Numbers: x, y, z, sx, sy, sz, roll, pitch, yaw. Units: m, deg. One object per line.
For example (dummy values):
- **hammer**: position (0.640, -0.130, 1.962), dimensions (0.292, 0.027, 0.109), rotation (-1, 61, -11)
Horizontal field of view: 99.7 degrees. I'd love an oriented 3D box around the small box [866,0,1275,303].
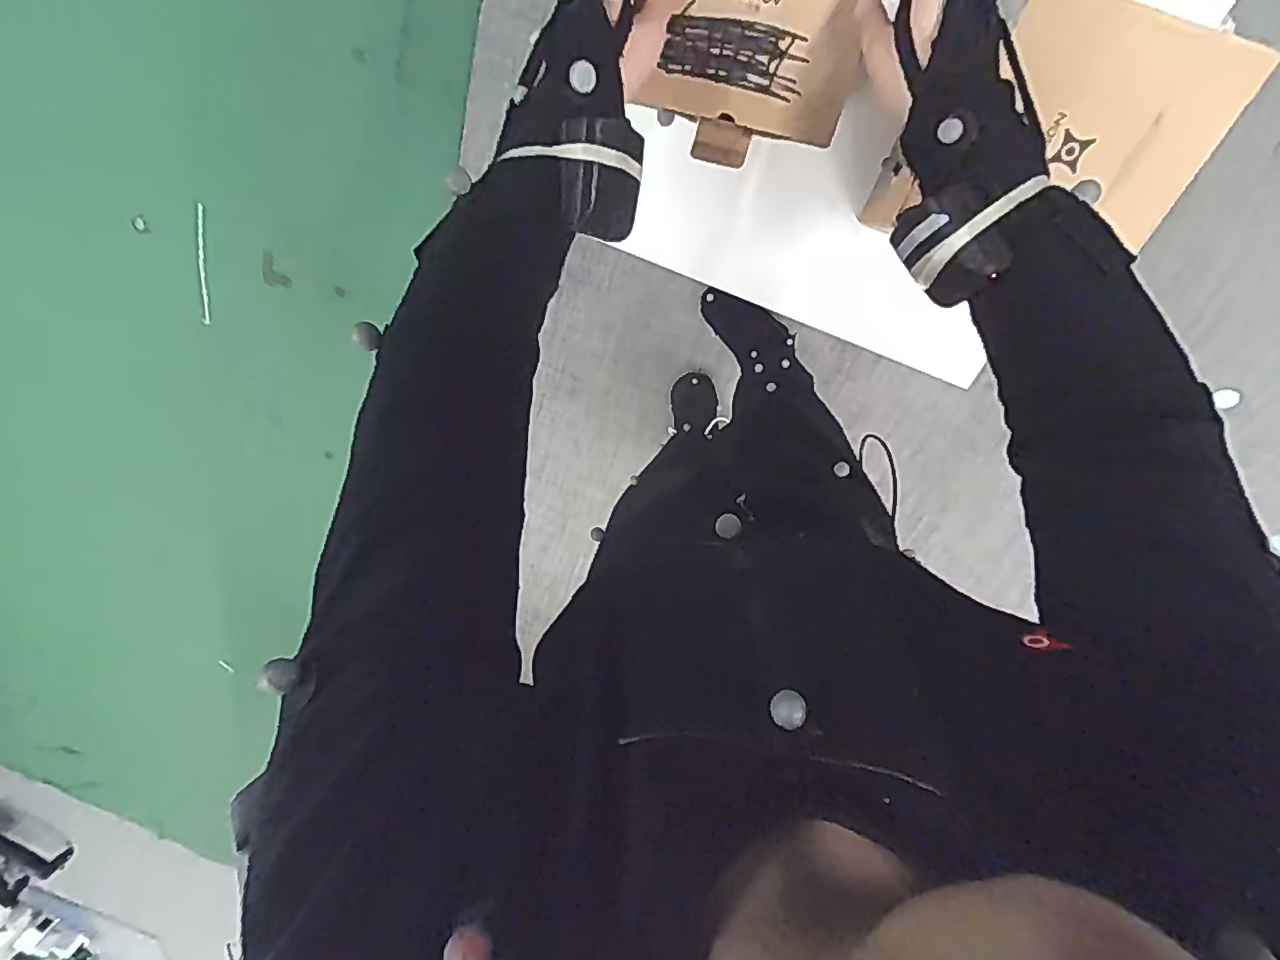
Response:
- **small box**: position (0.316, -0.268, 0.454), dimensions (0.179, 0.176, 0.168), rotation (21, 119, 2)
